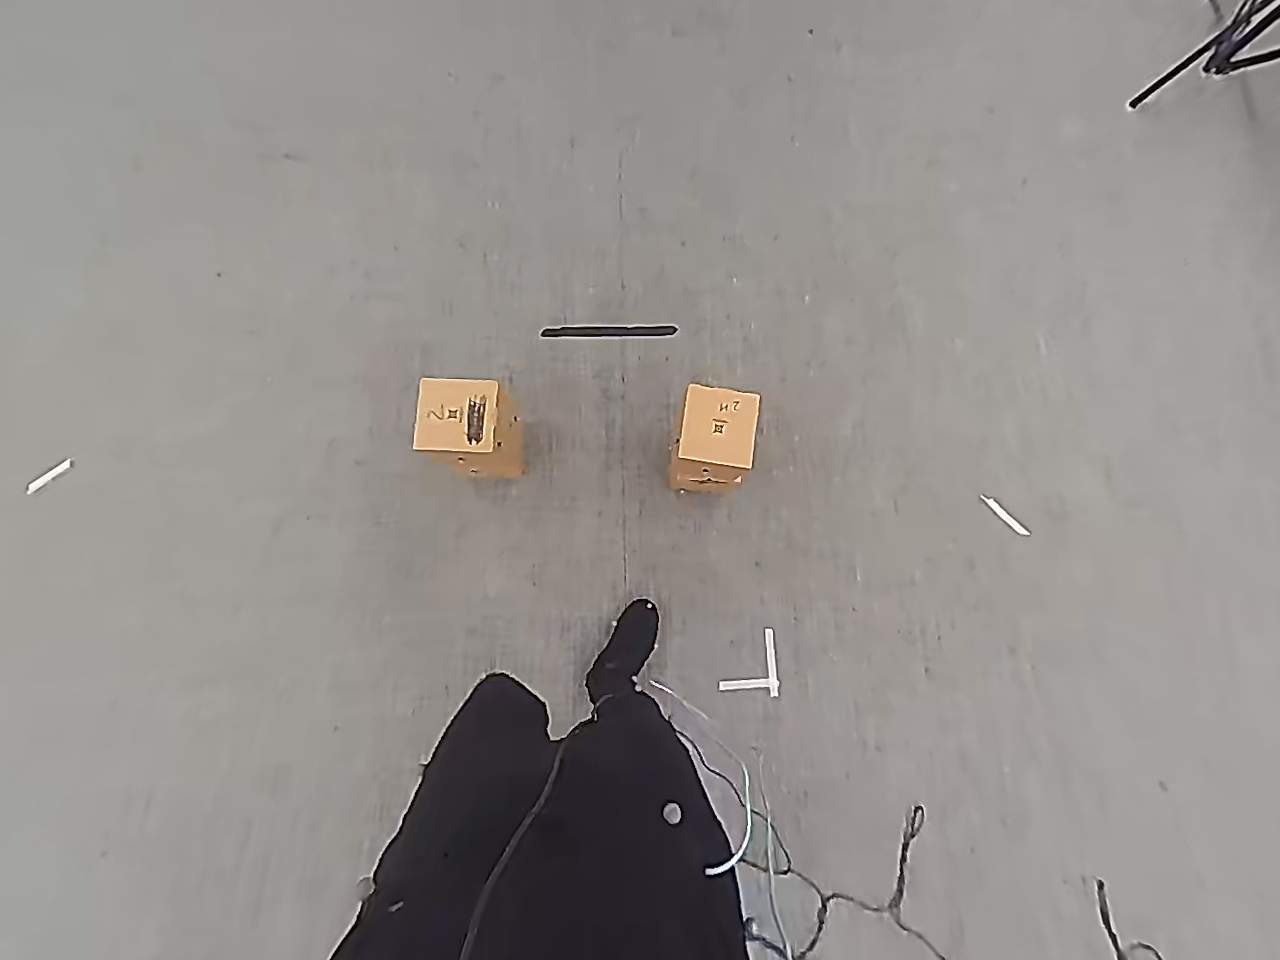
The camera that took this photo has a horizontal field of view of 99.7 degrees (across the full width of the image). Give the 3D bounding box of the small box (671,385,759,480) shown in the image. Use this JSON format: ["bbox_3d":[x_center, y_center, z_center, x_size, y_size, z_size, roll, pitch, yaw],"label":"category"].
[{"bbox_3d":[0.169,-0.103,1.272,0.168,0.176,0.179,10,80,-2],"label":"small box"}]

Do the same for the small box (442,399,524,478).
[{"bbox_3d":[-0.404,-0.102,1.417,0.168,0.176,0.179,2,80,-2],"label":"small box"}]

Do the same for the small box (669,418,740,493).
[{"bbox_3d":[0.168,-0.065,1.433,0.168,0.176,0.179,4,80,-3],"label":"small box"}]
